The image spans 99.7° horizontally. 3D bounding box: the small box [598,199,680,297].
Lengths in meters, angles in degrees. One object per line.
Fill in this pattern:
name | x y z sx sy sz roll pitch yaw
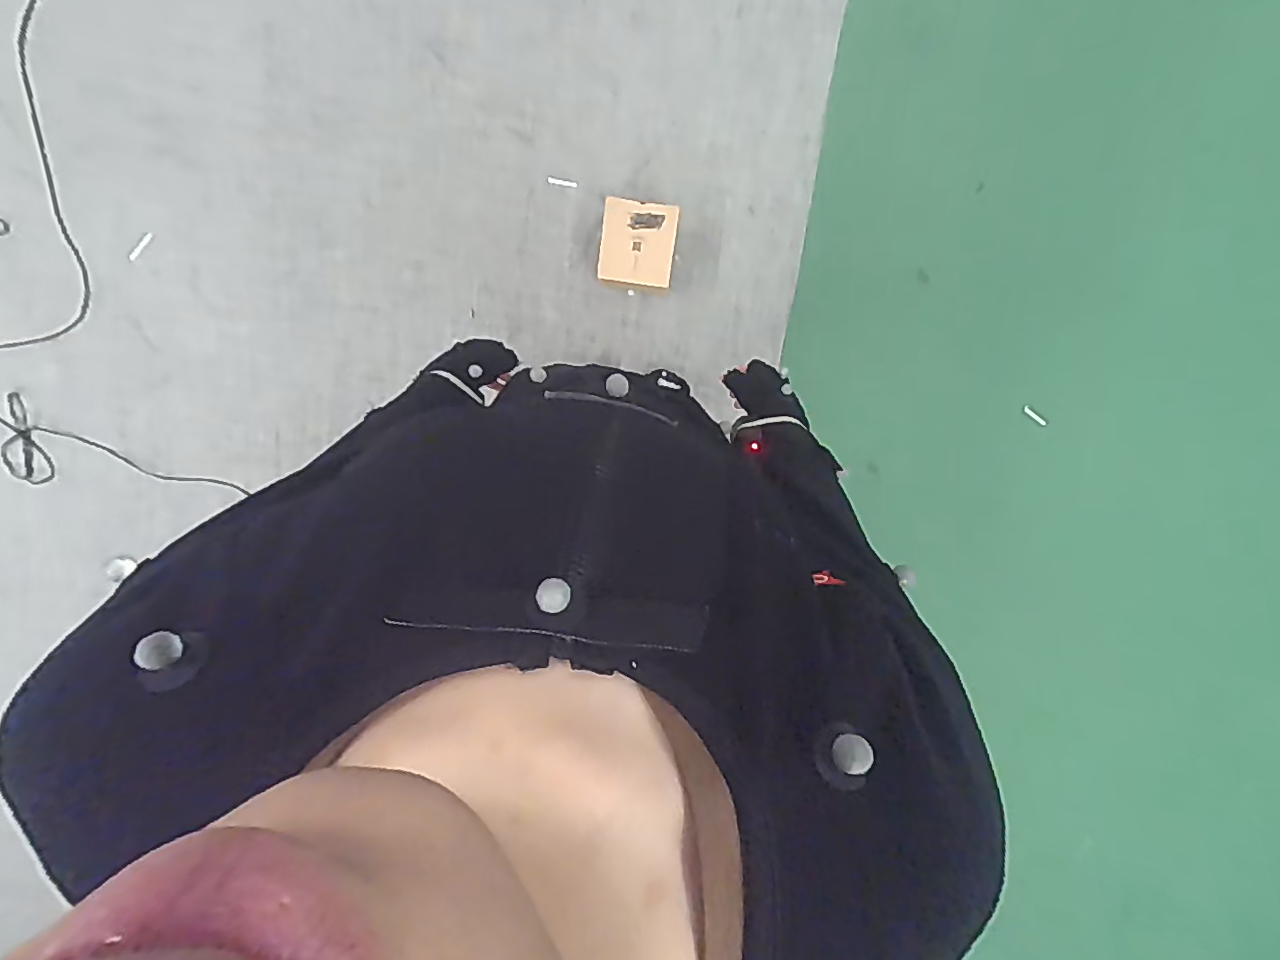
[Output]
small box | -0.004 -0.540 1.280 0.168 0.176 0.179 7 104 -1
